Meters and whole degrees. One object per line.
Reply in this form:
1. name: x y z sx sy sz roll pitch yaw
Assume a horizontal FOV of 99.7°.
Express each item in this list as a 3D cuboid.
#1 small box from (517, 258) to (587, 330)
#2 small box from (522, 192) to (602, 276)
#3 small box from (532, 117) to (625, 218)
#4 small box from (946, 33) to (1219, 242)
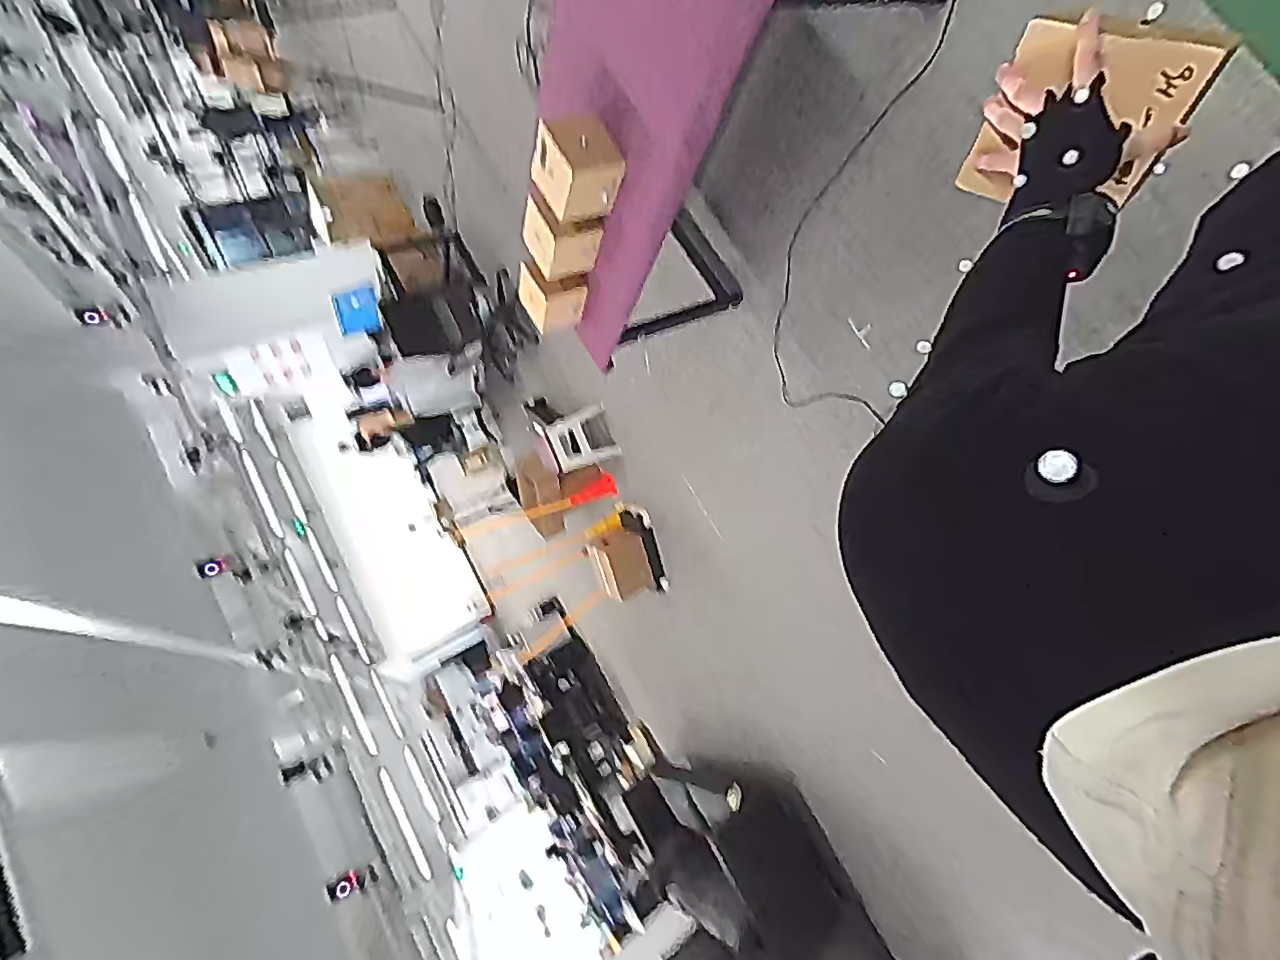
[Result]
1. small box: -0.310 -0.660 1.887 0.179 0.176 0.168 58 153 14
2. small box: -0.244 -0.767 1.672 0.179 0.176 0.168 60 154 10
3. small box: -0.168 -0.847 1.464 0.179 0.176 0.168 60 154 8
4. small box: 0.512 -0.410 0.638 0.179 0.176 0.168 36 144 26
